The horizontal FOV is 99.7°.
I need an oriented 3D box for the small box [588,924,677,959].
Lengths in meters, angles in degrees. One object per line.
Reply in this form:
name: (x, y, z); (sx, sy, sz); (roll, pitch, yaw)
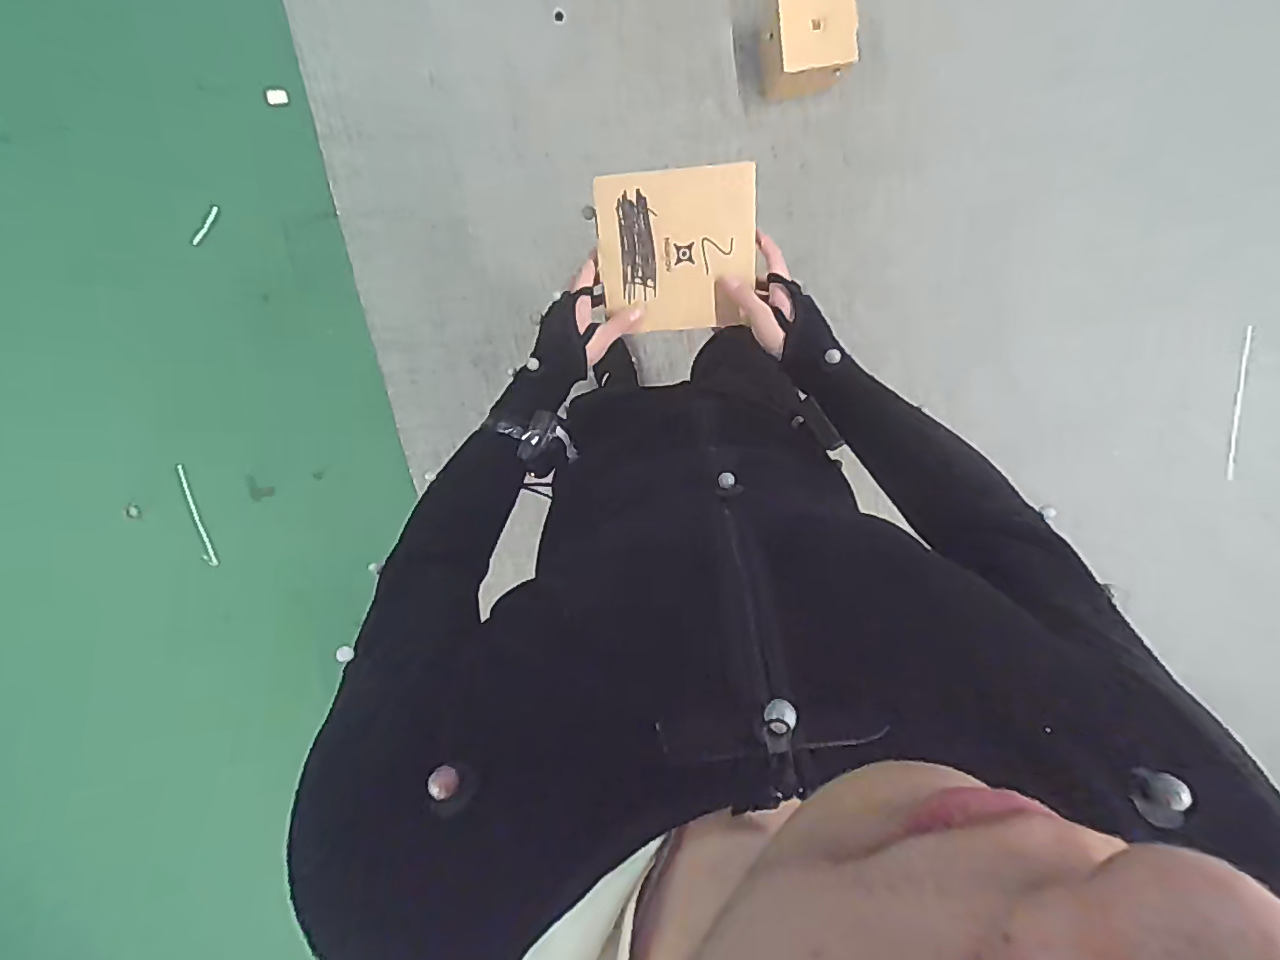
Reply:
small box: (-0.009, 1.006, 1.047); (0.179, 0.176, 0.168); (-5, 106, -3)

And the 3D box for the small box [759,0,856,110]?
small box: (0.390, -1.015, 1.287); (0.179, 0.176, 0.168); (-10, 105, -1)
